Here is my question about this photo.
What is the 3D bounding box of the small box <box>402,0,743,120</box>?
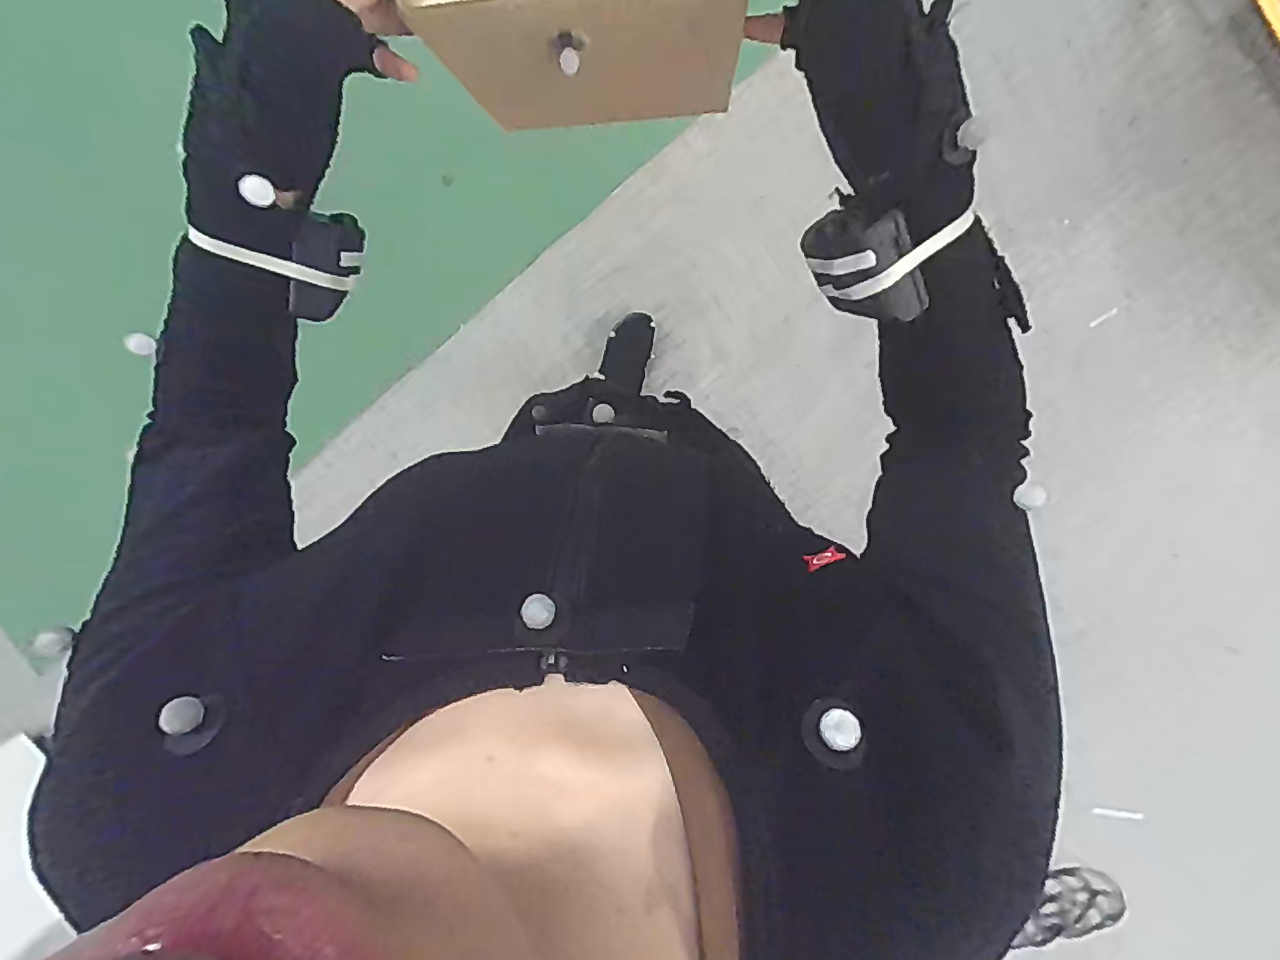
[{"bbox_3d":[-0.028,-0.333,0.315,0.179,0.176,0.168,-1,107,5],"label":"small box"}]
